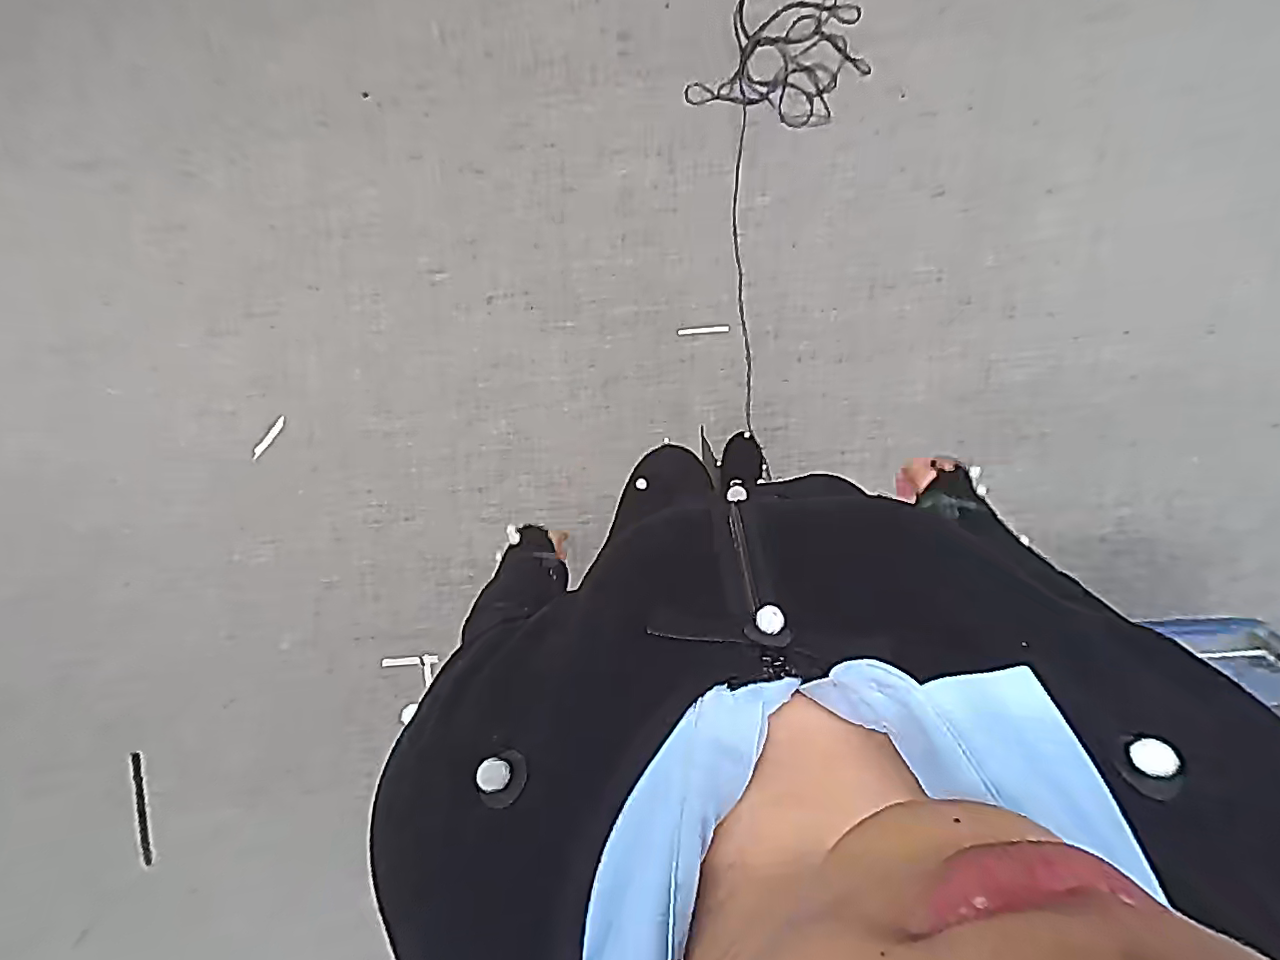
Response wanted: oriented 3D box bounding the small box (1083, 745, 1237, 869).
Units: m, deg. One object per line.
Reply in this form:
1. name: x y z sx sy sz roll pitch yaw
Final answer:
1. small box: 1.094 0.684 1.150 0.179 0.176 0.168 -2 90 6

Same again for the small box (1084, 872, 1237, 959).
1. small box: 1.109 0.979 1.158 0.179 0.176 0.168 -8 91 6
